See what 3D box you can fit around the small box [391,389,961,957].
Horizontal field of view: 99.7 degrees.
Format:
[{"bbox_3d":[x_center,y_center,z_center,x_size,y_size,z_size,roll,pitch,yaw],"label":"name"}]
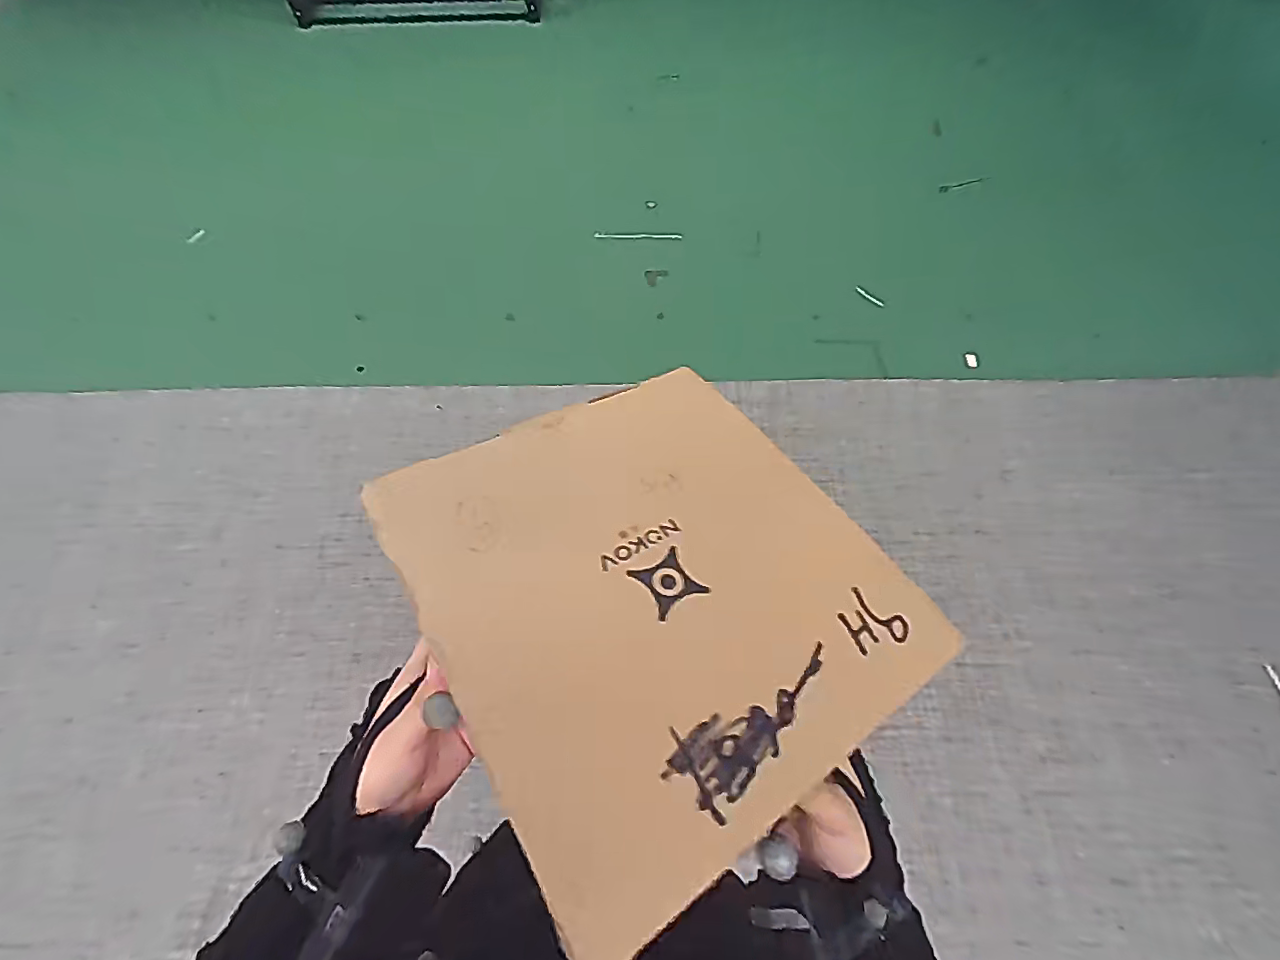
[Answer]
[{"bbox_3d":[0.002,0.089,0.275,0.168,0.176,0.179,-26,59,-25],"label":"small box"}]
